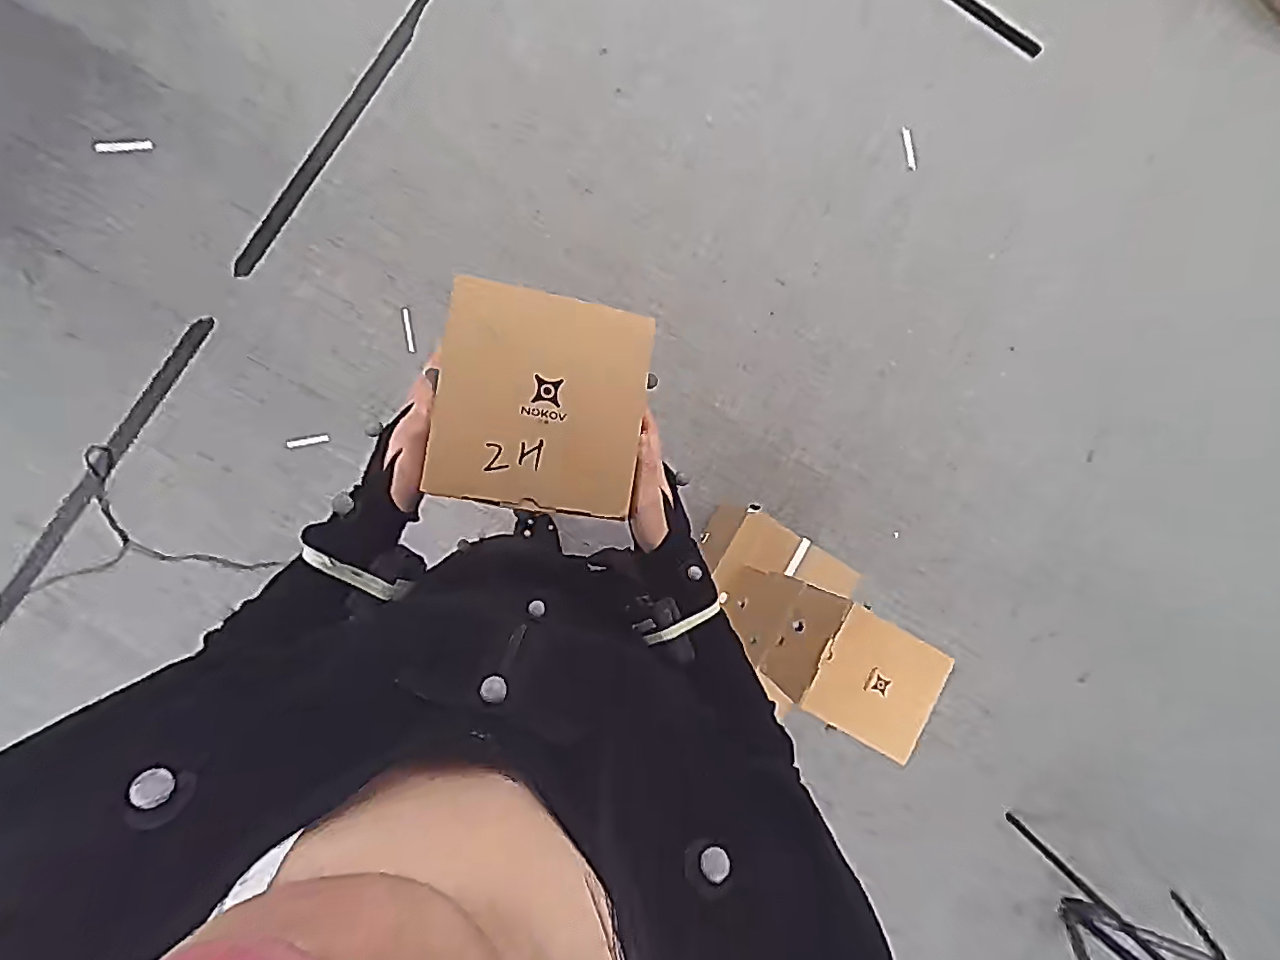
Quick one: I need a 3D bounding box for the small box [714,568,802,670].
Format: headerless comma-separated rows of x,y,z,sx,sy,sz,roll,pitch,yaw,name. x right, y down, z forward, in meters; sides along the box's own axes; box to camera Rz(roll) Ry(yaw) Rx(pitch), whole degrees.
0.276,0.304,1.159,0.168,0.176,0.179,29,86,-3,small box

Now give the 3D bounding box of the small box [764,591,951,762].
0.322,0.287,0.835,0.179,0.176,0.168,30,85,-3,small box

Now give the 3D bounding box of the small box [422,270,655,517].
-0.096,-0.065,0.513,0.168,0.176,0.179,9,87,-13,small box
